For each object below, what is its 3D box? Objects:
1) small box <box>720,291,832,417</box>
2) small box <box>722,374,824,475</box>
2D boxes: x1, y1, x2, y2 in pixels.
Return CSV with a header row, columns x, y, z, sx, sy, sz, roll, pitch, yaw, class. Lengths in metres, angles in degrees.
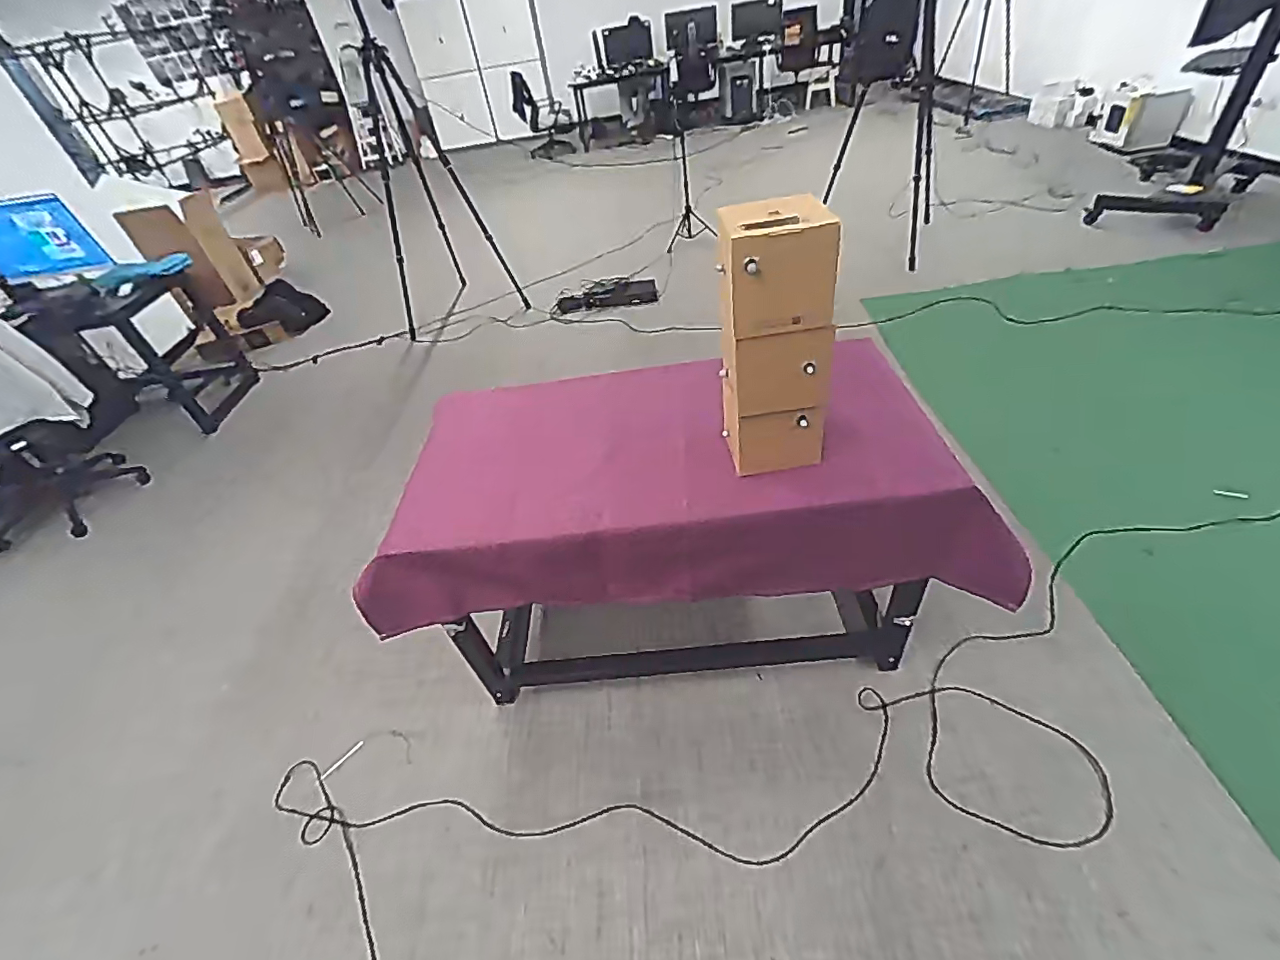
x,y,z,sx,sy,sz,roll,pitch,yaw,class
0.254,-0.242,1.047,0.179,0.176,0.168,-8,40,4,small box
0.279,-0.132,1.166,0.179,0.176,0.168,-9,40,3,small box
